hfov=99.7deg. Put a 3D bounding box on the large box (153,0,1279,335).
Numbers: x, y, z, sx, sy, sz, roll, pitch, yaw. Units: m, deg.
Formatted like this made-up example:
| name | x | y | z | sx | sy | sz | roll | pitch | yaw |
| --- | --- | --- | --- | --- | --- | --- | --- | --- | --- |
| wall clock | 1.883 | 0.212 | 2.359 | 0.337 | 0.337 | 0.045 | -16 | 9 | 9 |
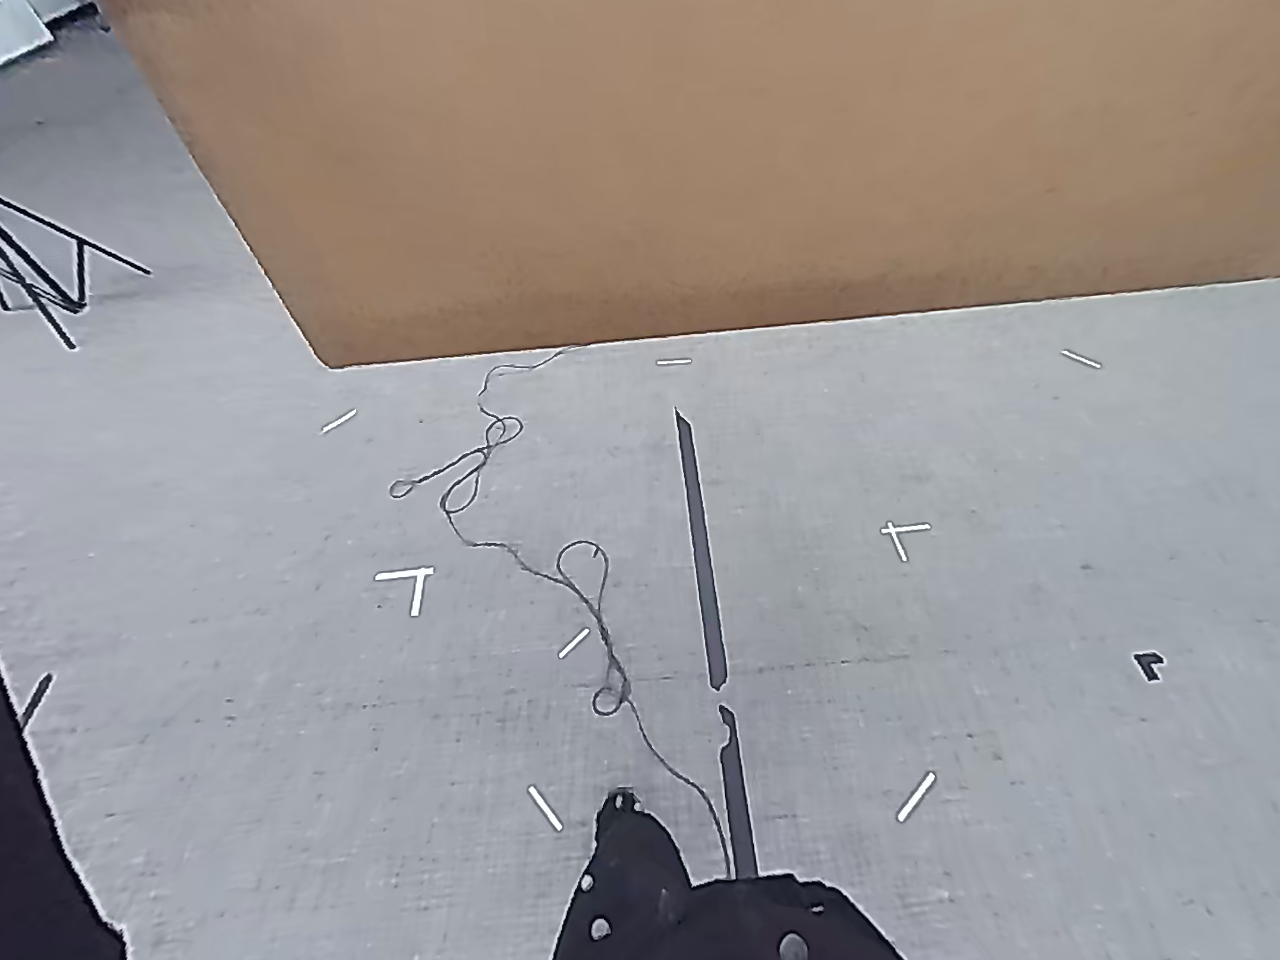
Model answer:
| name | x | y | z | sx | sy | sz | roll | pitch | yaw |
| --- | --- | --- | --- | --- | --- | --- | --- | --- | --- |
| large box | 0.046 | -0.287 | 0.219 | 0.408 | 0.320 | 0.320 | -6 | 49 | -2 |
